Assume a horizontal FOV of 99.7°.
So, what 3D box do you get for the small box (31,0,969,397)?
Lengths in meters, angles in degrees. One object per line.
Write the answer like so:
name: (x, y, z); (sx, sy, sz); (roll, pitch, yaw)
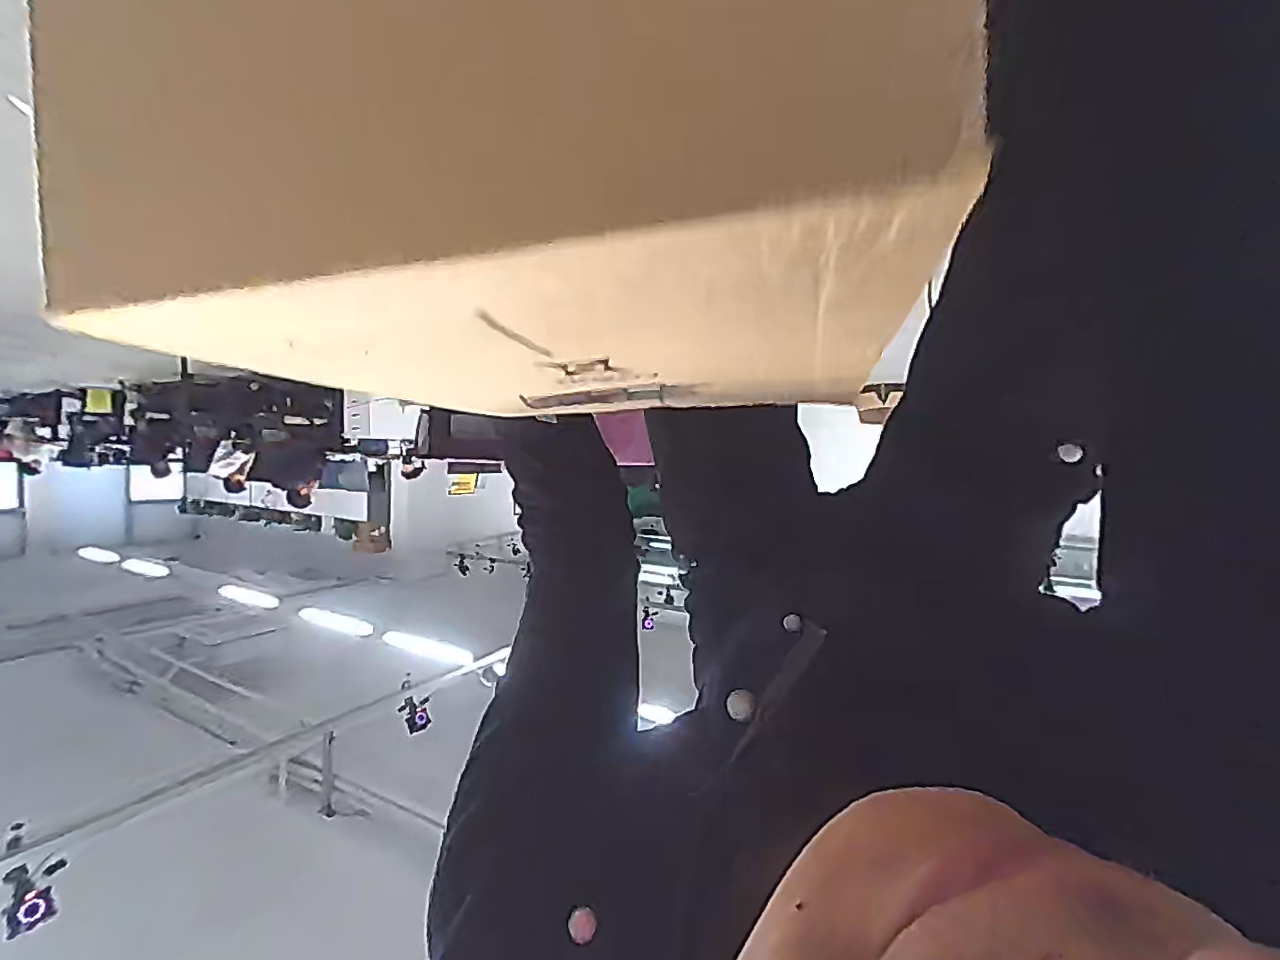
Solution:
small box: (-0.016, -0.122, 0.162); (0.168, 0.176, 0.179); (-1, -179, 17)
